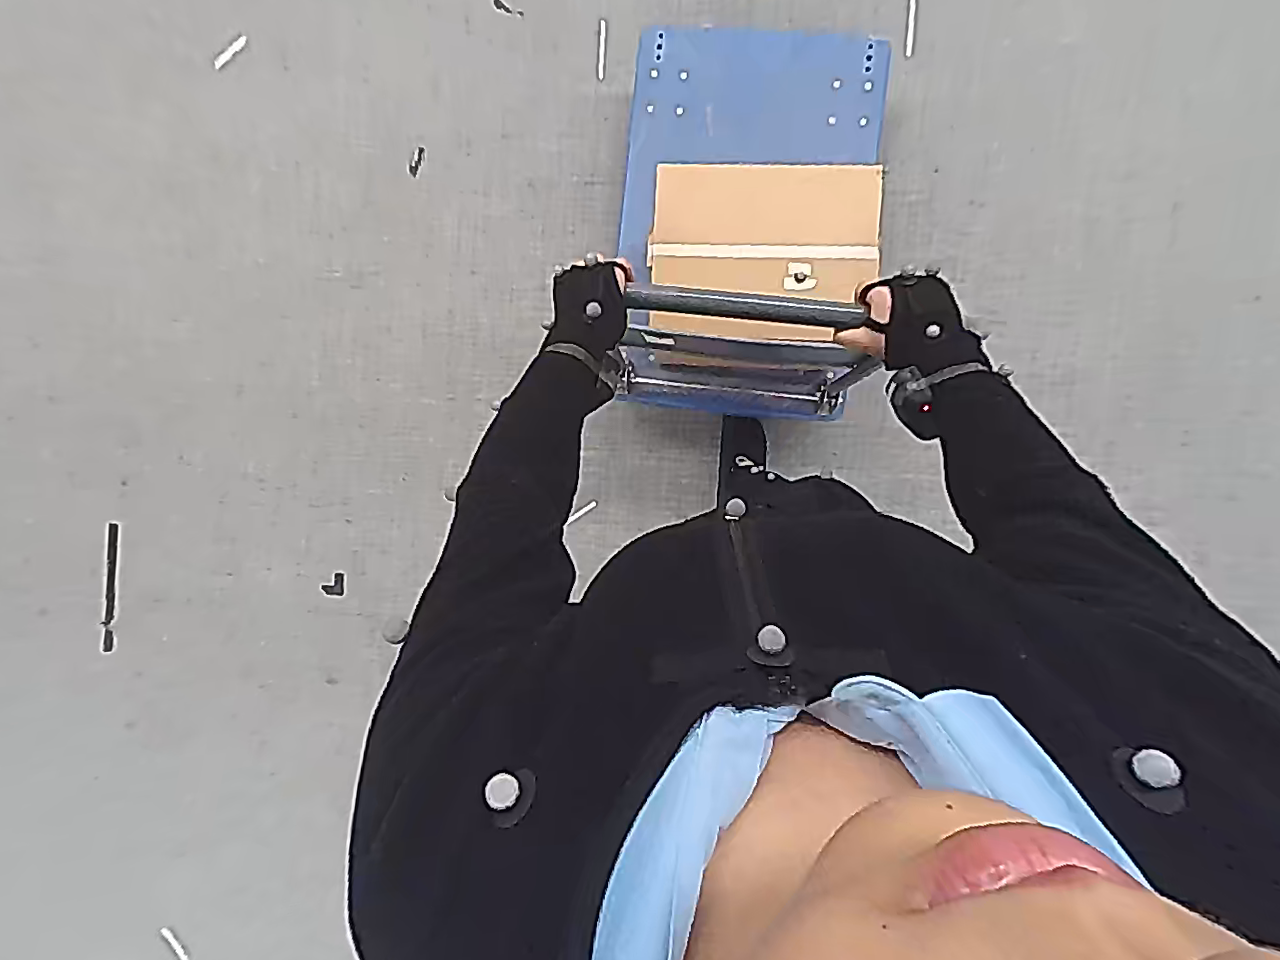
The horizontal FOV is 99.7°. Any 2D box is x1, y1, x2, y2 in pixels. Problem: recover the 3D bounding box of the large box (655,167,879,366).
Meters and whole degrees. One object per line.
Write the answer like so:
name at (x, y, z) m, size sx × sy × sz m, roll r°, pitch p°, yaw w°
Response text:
large box at (0.237, -0.424, 1.141) m, size 0.408 × 0.320 × 0.320 m, roll 3°, pitch 93°, yaw 4°
